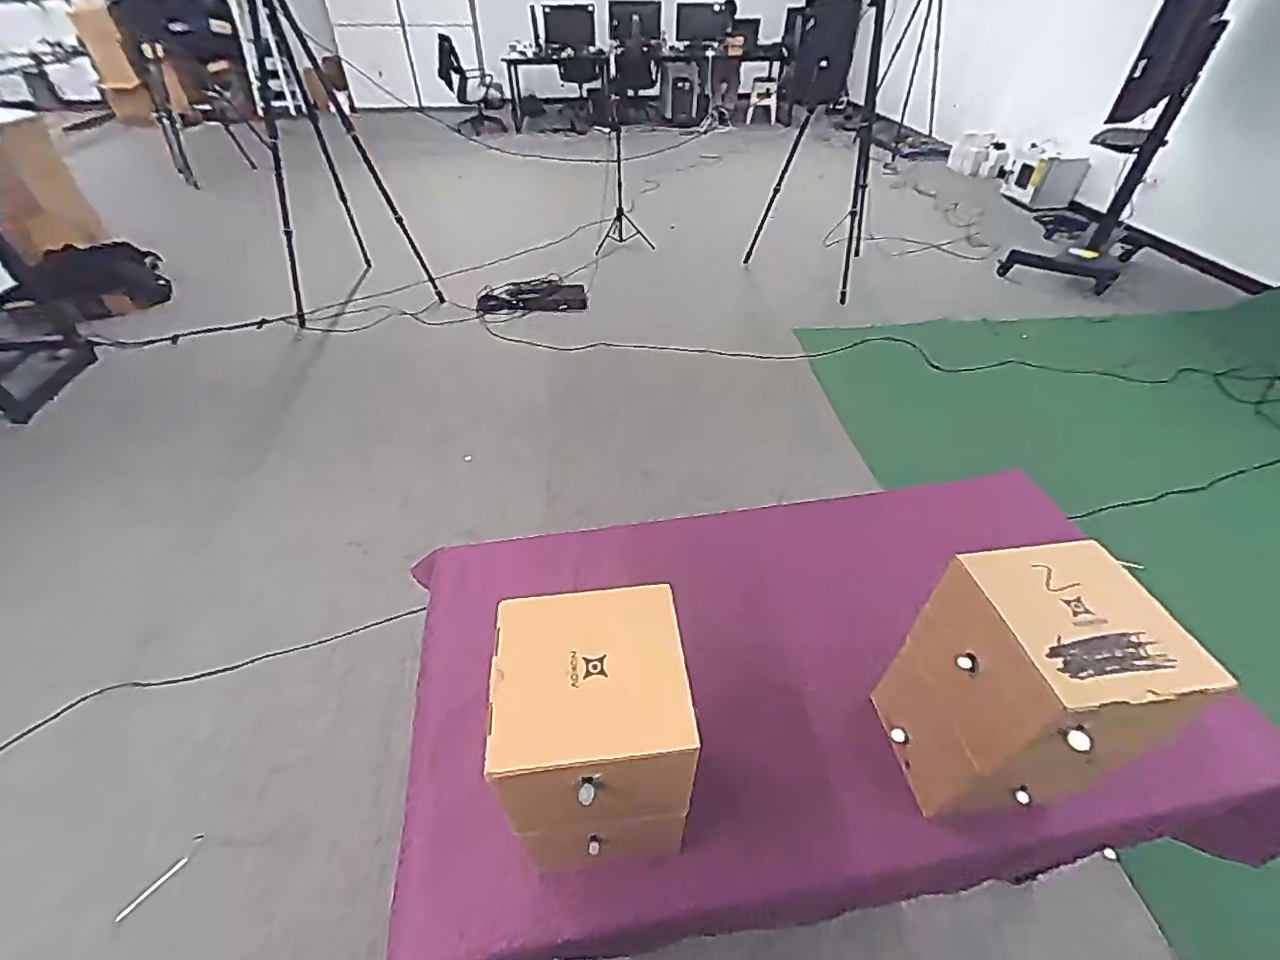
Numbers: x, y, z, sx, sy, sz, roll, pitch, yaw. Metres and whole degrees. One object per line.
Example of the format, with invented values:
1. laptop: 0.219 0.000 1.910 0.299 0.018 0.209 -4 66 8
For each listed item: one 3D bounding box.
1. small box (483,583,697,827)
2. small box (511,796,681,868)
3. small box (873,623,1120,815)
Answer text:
1. small box: -0.047 0.227 0.546 0.179 0.176 0.168 -6 43 -4
2. small box: -0.050 0.348 0.656 0.179 0.176 0.168 -4 43 -5
3. small box: 0.433 0.307 0.696 0.179 0.176 0.168 -6 43 -4
